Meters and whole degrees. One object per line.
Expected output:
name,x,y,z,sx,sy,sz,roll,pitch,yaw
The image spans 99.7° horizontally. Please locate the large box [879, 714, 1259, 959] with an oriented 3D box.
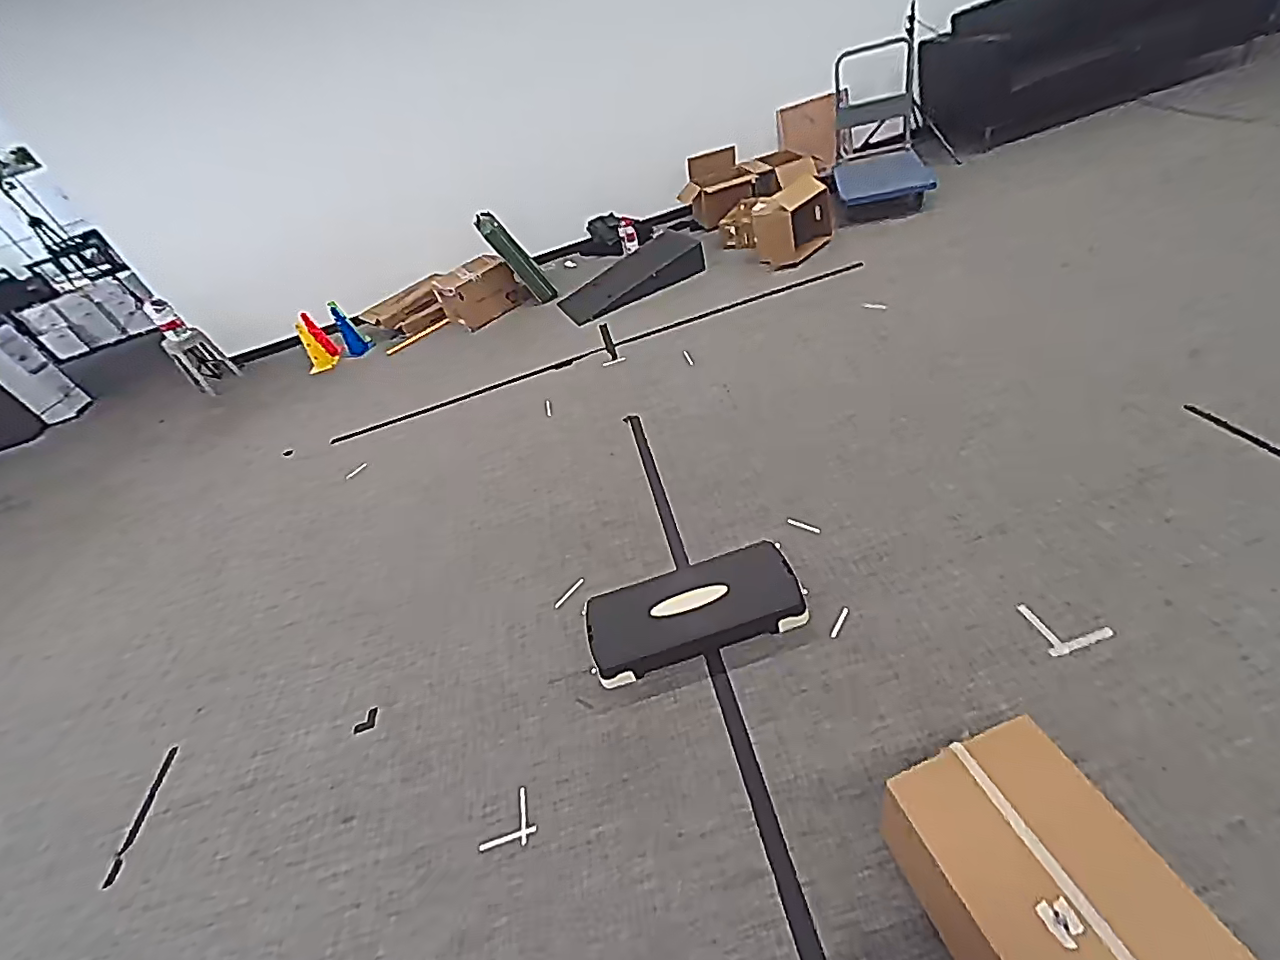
large box,0.701,0.730,0.985,0.320,0.320,0.408,-23,41,-5
